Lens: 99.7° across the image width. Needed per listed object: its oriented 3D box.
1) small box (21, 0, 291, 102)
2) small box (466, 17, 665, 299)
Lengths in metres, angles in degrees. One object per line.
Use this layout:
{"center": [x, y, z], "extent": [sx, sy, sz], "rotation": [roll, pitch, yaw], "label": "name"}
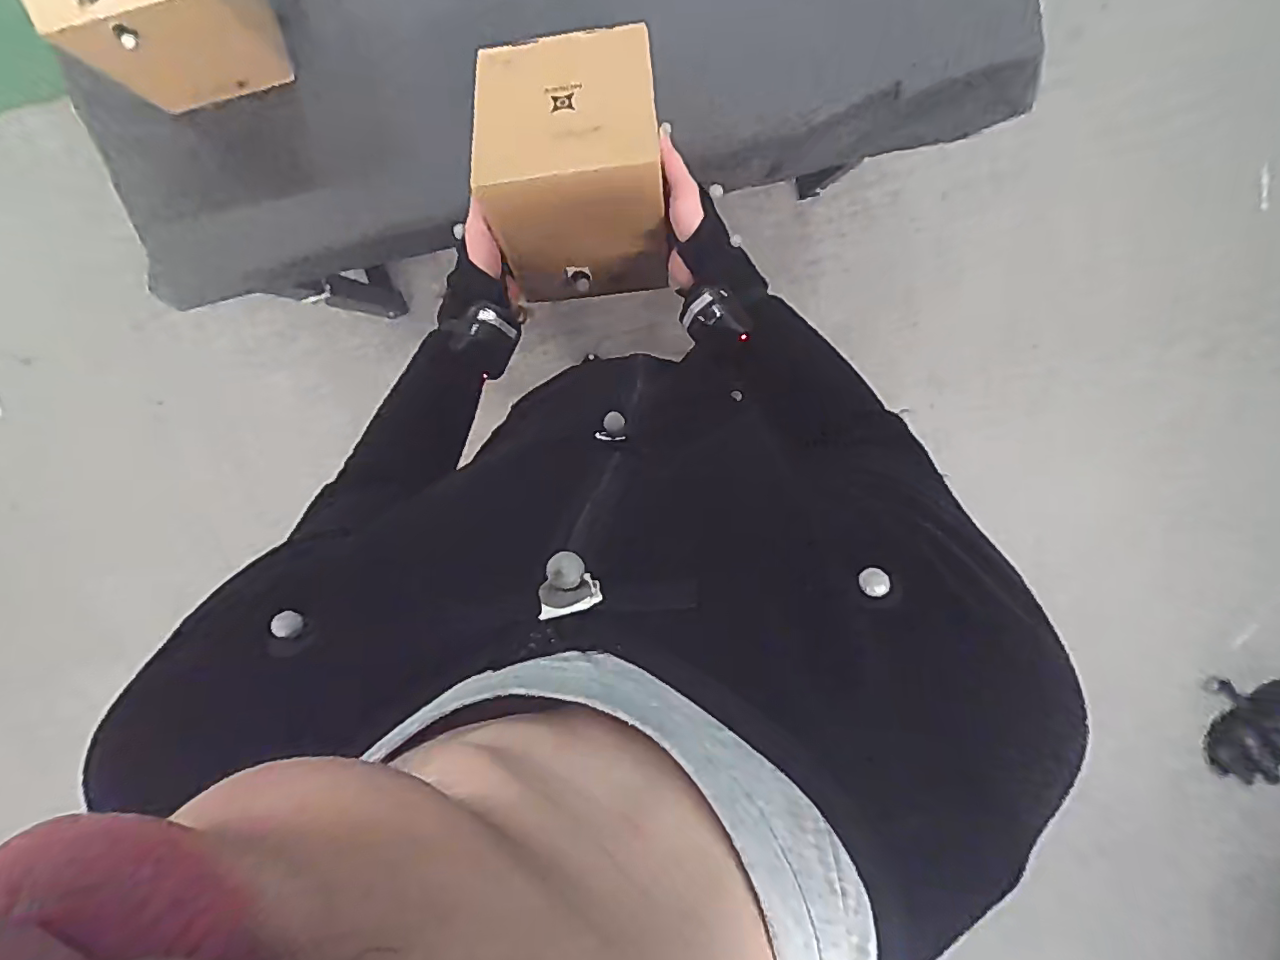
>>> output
{"center": [-0.514, -0.543, 0.562], "extent": [0.168, 0.176, 0.179], "rotation": [-16, 103, 0], "label": "small box"}
{"center": [-0.065, -0.316, 0.555], "extent": [0.168, 0.176, 0.179], "rotation": [-6, 72, 4], "label": "small box"}
